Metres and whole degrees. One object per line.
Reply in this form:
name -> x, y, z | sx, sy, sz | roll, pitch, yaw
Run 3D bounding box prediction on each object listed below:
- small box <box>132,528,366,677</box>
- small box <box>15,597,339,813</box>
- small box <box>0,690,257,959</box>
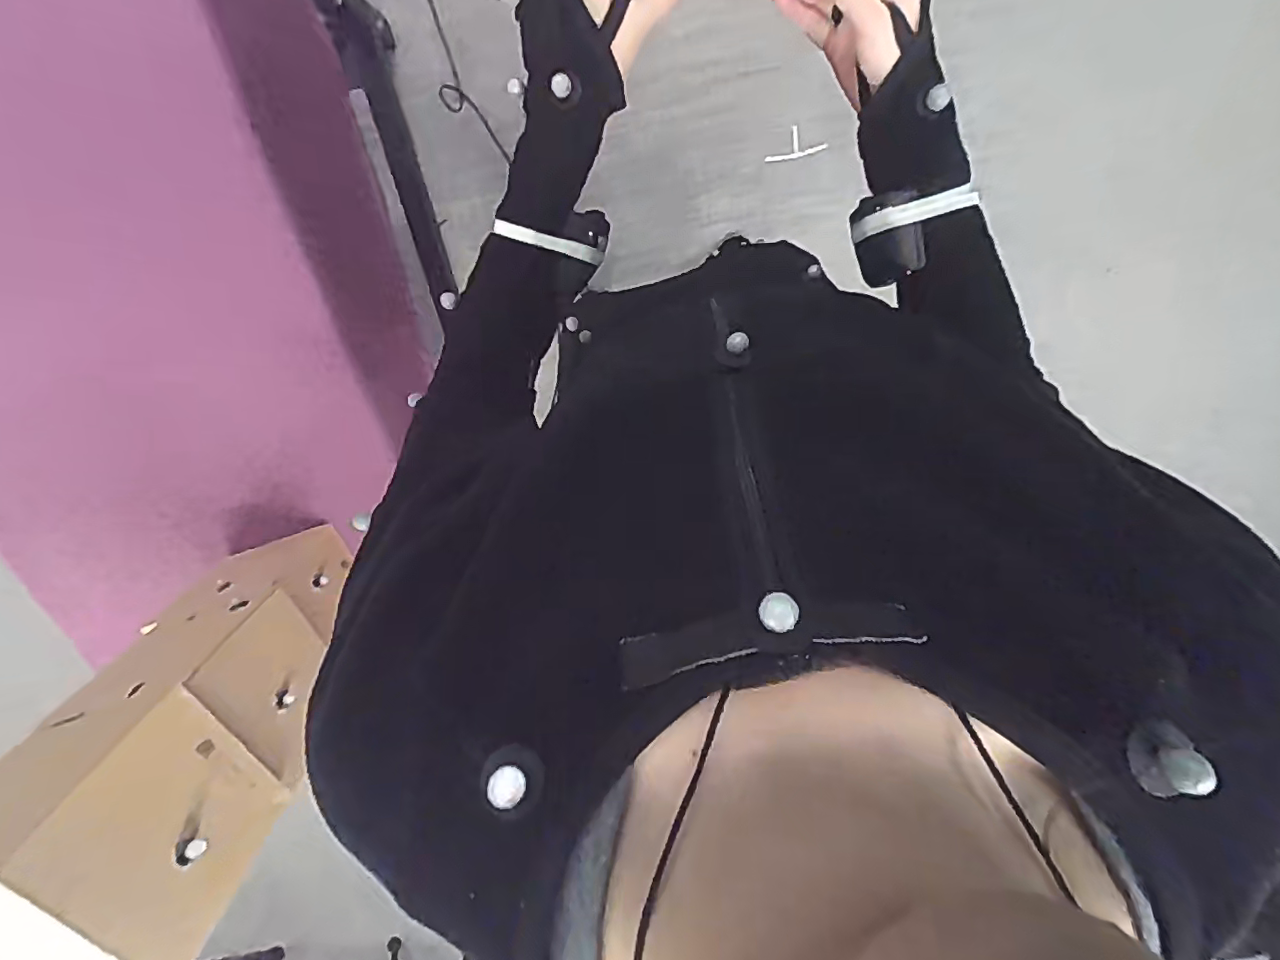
small box -> -0.513, 0.188, 0.749 | 0.179, 0.176, 0.168 | -16, 113, 6
small box -> -0.482, 0.252, 0.600 | 0.168, 0.176, 0.179 | -17, 113, 5
small box -> -0.467, 0.306, 0.447 | 0.179, 0.176, 0.168 | -21, 113, 7
